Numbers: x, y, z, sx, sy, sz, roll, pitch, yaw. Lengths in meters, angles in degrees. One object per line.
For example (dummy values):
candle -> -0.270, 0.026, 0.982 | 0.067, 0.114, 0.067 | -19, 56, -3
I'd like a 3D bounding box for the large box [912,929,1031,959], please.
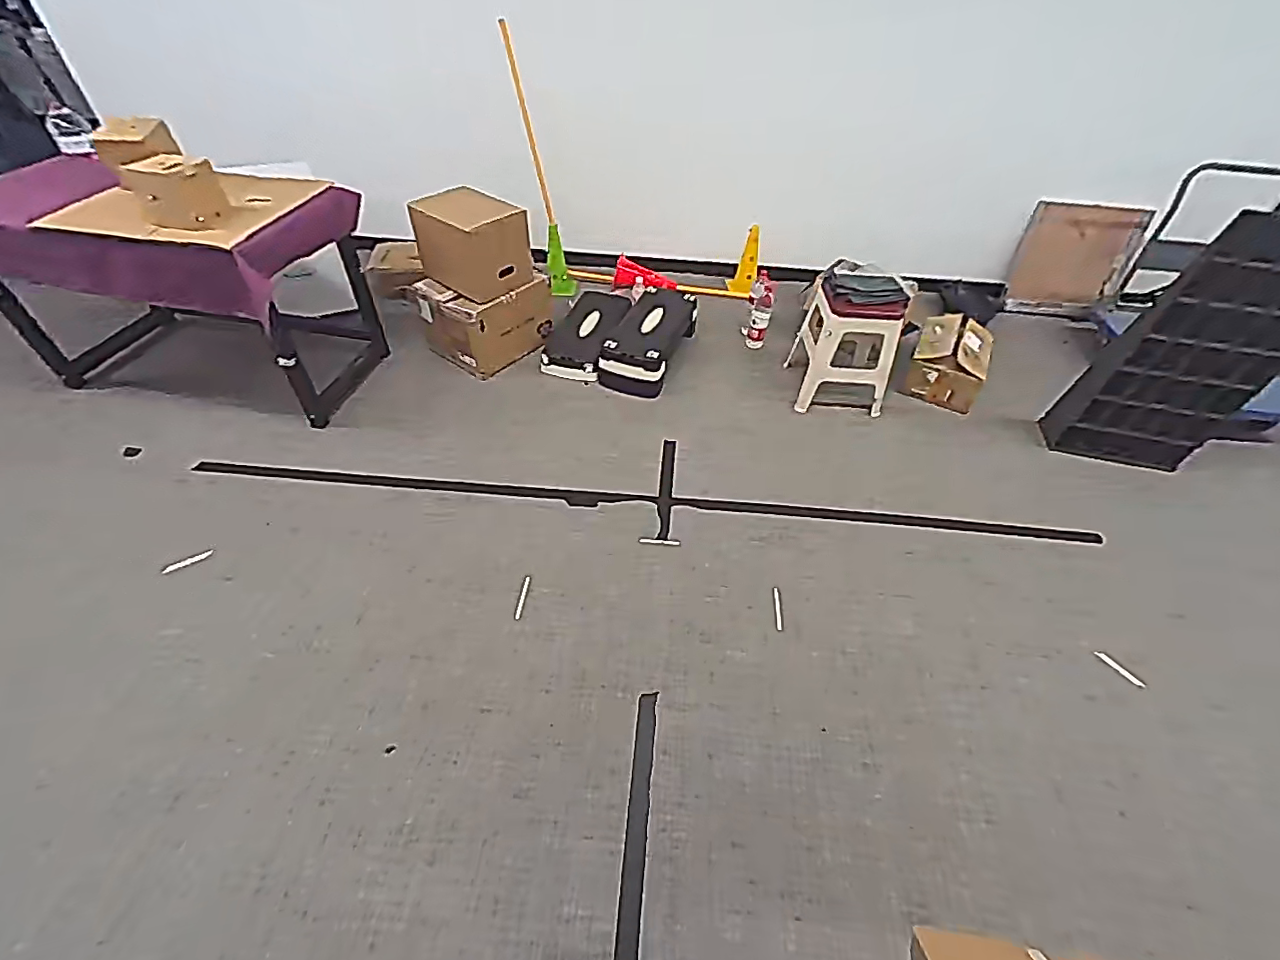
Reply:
large box -> 0.484, 0.782, 0.540 | 0.320, 0.408, 0.320 | 7, 81, 12
